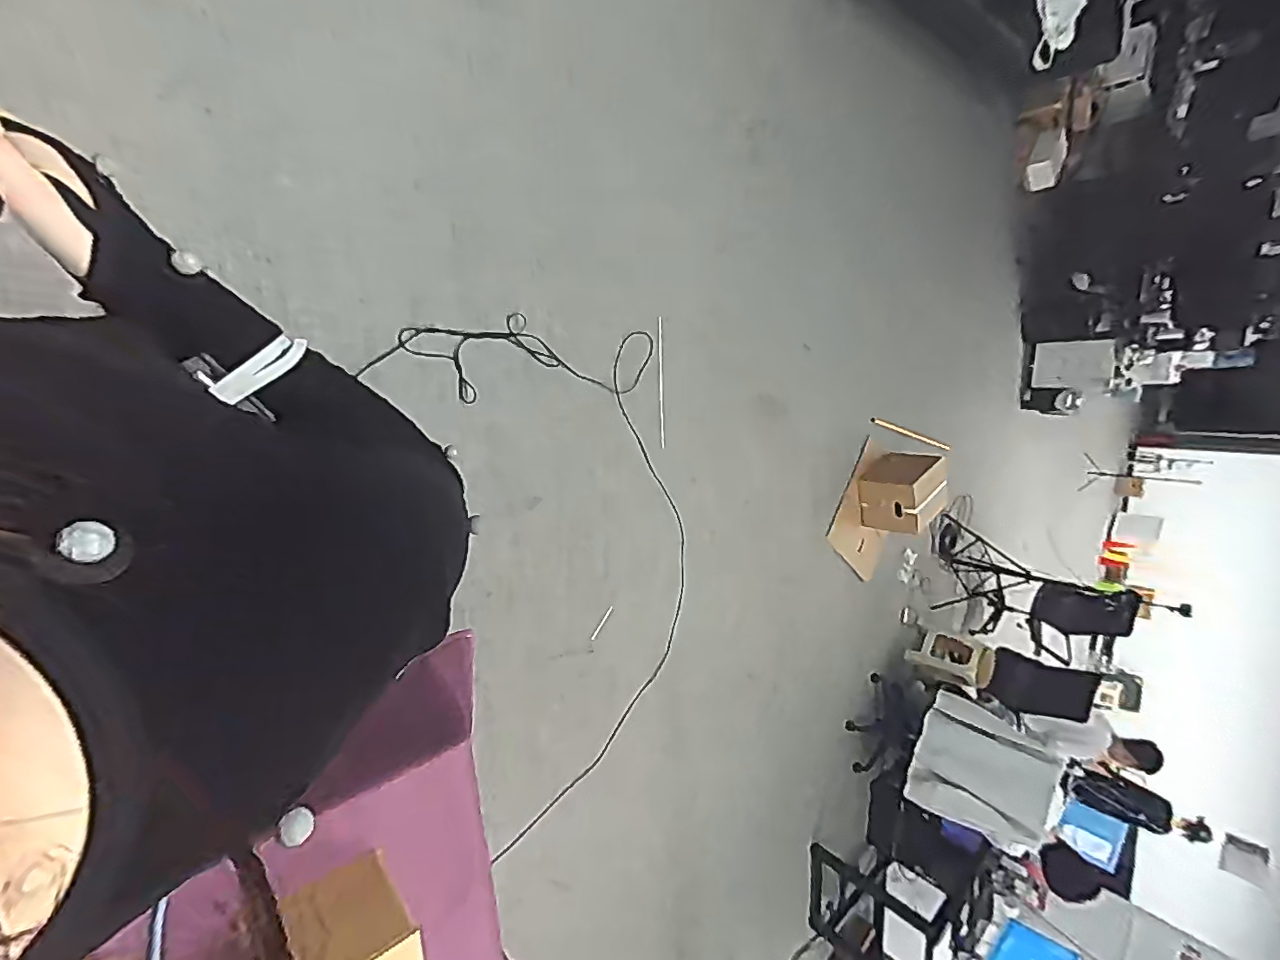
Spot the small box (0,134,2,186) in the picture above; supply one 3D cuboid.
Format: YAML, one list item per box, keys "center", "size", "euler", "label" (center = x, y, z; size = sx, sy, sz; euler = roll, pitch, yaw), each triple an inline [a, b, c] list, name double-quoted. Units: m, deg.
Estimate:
- center: [-0.464, -0.240, 0.258]
  size: [0.168, 0.176, 0.179]
  euler: [-30, 118, -43]
  label: "small box"

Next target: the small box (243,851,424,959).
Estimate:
- center: [-0.395, 0.643, 0.706]
  size: [0.179, 0.176, 0.168]
  euler: [-11, 104, -38]
  label: "small box"
